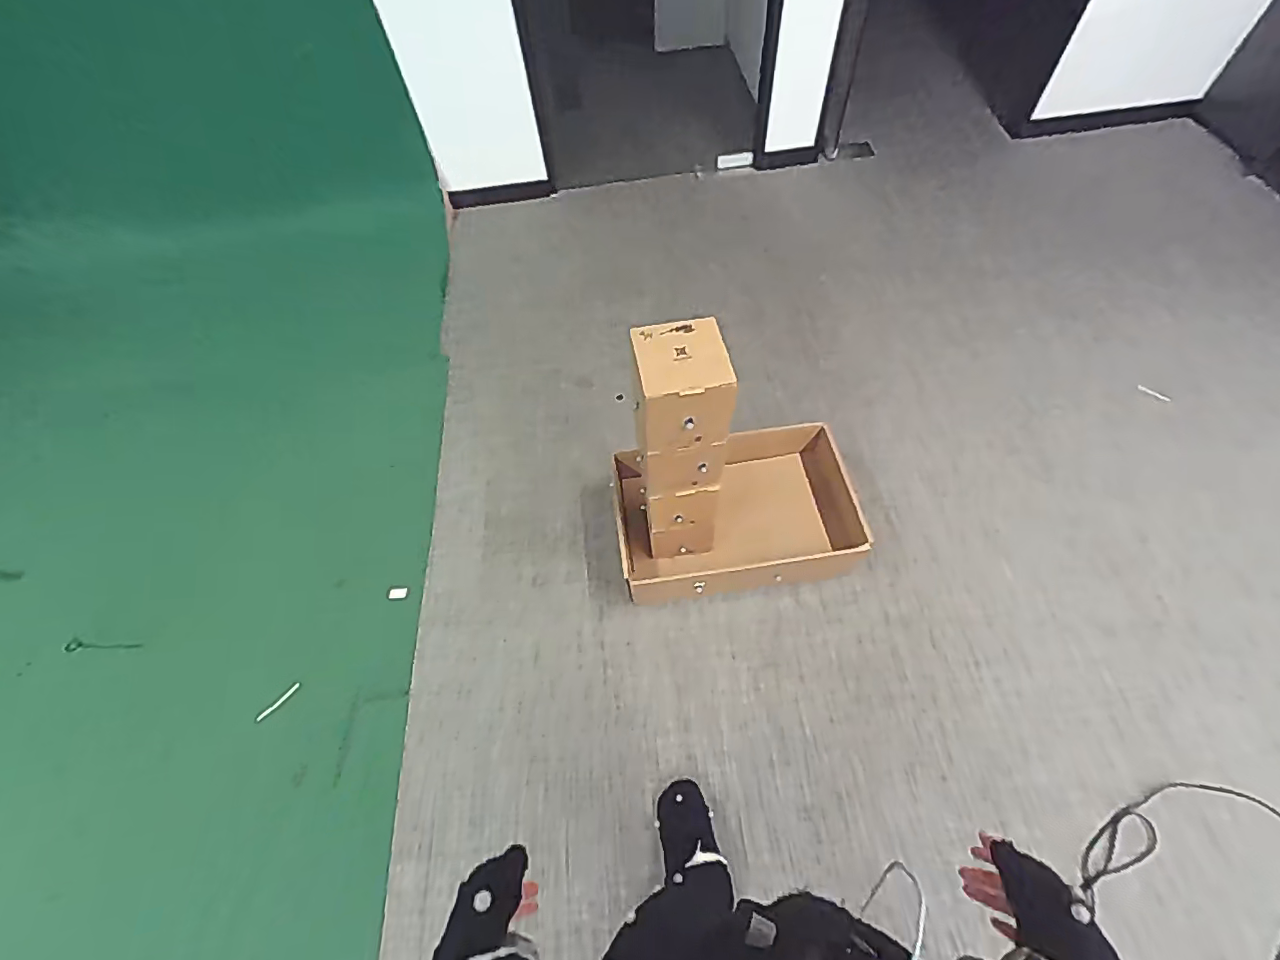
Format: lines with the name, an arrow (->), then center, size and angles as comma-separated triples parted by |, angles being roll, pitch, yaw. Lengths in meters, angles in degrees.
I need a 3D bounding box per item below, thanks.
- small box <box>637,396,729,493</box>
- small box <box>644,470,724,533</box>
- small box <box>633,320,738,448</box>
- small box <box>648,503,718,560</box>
small box -> 0.088, -0.084, 1.173 | 0.168, 0.176, 0.179 | -8, 58, -3
small box -> 0.099, 0.007, 1.308 | 0.168, 0.176, 0.179 | -7, 58, -2
small box -> 0.082, -0.175, 1.037 | 0.168, 0.176, 0.179 | -8, 59, -4
small box -> 0.108, 0.095, 1.445 | 0.168, 0.176, 0.179 | -7, 58, 0
